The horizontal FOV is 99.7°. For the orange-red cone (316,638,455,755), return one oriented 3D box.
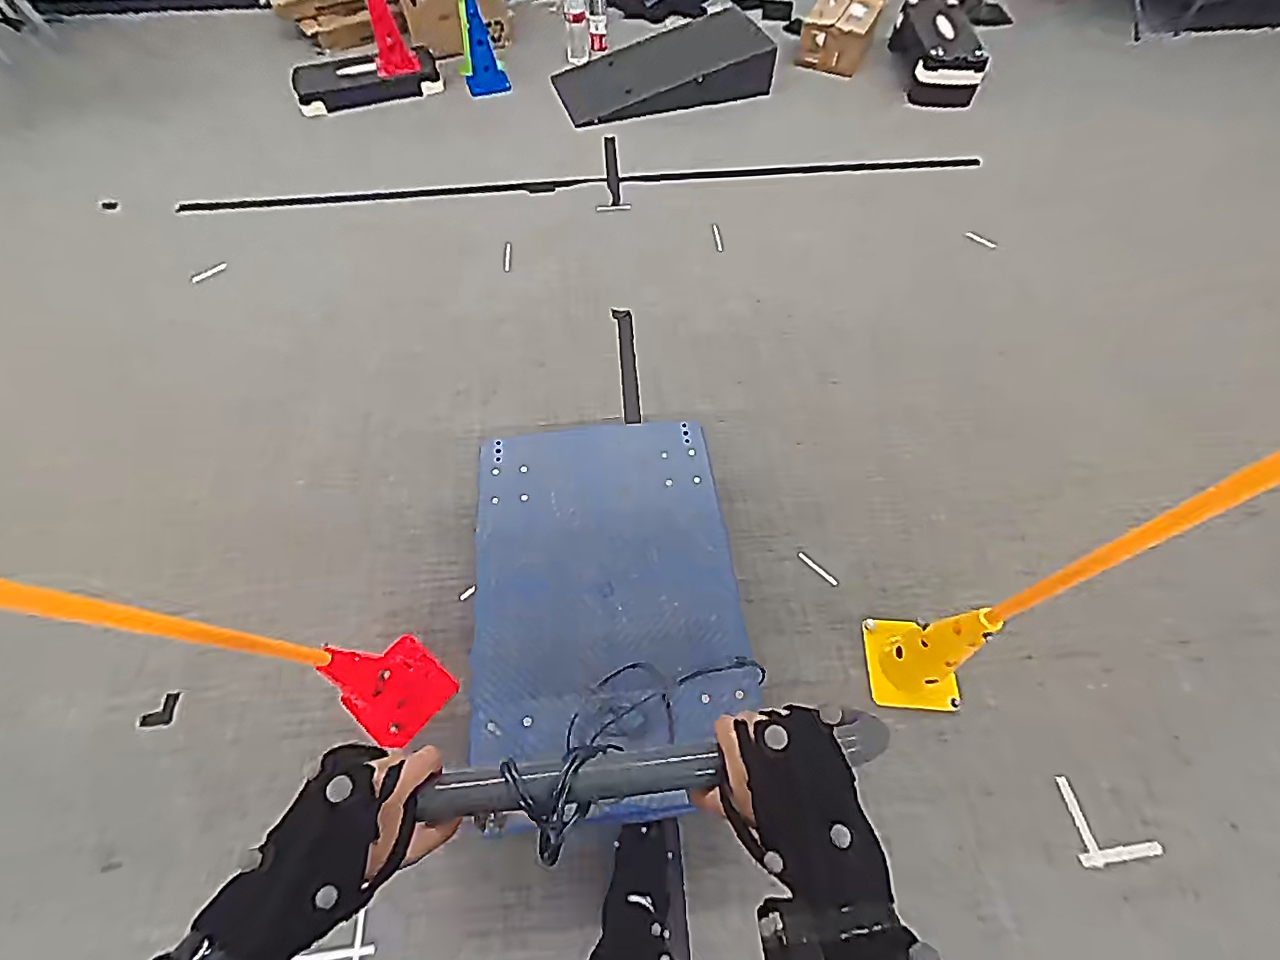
[{"bbox_3d":[-0.545,0.399,1.085,0.198,0.360,0.199,37,64,19],"label":"orange-red cone"}]
